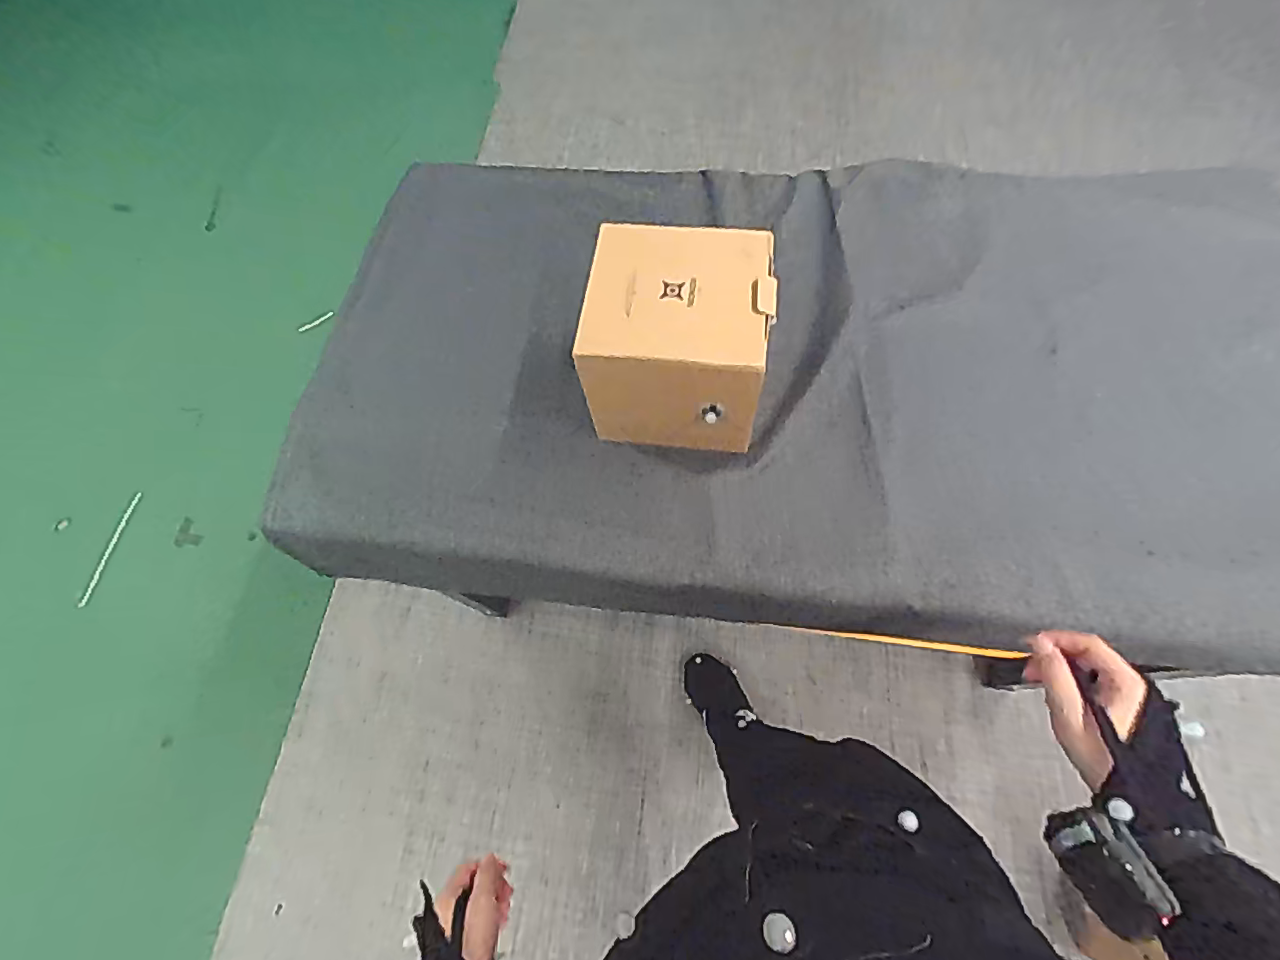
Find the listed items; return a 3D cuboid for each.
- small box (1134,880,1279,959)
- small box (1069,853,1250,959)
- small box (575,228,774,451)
[{"bbox_3d":[0.858,0.694,0.767,0.179,0.176,0.168,4,67,6],"label":"small box"},{"bbox_3d":[0.884,0.758,0.917,0.179,0.176,0.168,6,67,8],"label":"small box"},{"bbox_3d":[0.042,-0.143,0.588,0.179,0.176,0.168,5,66,7],"label":"small box"}]
